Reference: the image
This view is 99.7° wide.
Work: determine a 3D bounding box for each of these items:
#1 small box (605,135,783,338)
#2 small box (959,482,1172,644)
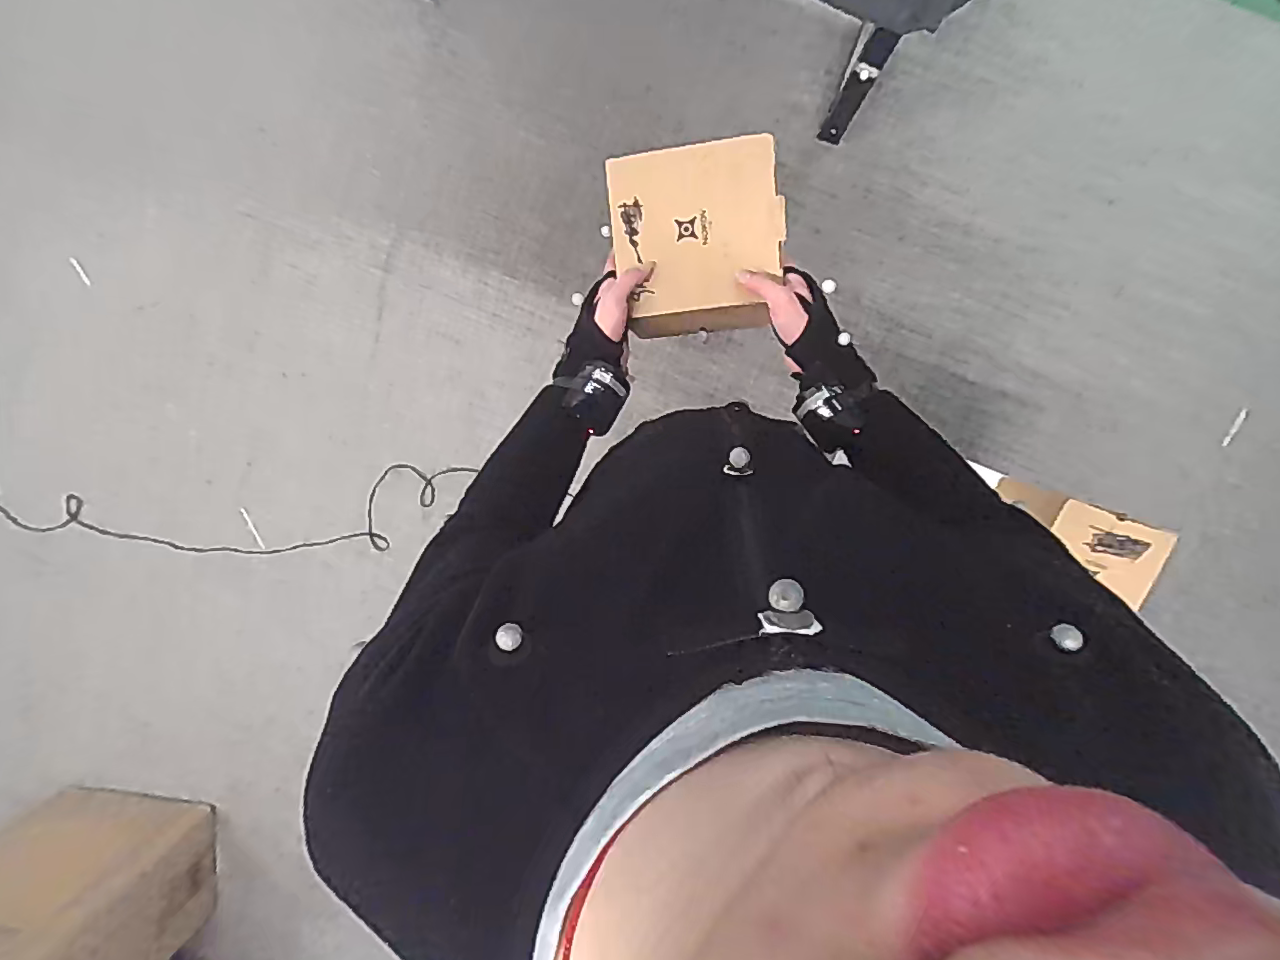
[{"bbox_3d":[0.062,-0.267,0.634,0.179,0.176,0.168,-4,95,6],"label":"small box"},{"bbox_3d":[0.646,0.117,0.850,0.168,0.176,0.179,21,102,1],"label":"small box"}]
